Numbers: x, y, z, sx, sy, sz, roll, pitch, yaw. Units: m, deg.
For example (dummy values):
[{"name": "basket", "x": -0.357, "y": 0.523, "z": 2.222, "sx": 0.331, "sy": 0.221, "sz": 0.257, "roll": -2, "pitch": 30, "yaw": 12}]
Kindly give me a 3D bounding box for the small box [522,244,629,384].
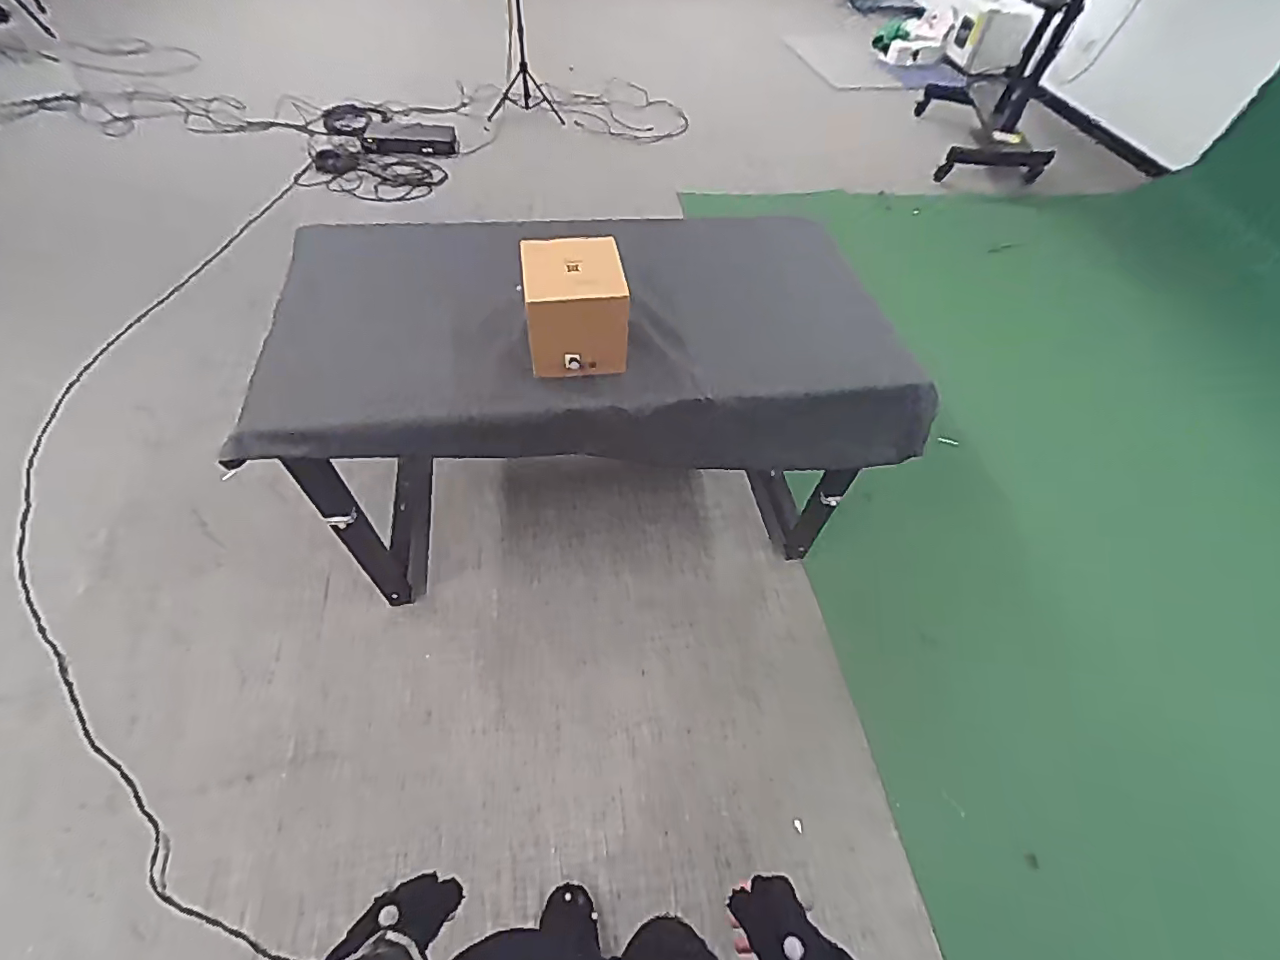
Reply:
[{"name": "small box", "x": -0.116, "y": -0.296, "z": 0.967, "sx": 0.168, "sy": 0.176, "sz": 0.179, "roll": -8, "pitch": 55, "yaw": -8}]
